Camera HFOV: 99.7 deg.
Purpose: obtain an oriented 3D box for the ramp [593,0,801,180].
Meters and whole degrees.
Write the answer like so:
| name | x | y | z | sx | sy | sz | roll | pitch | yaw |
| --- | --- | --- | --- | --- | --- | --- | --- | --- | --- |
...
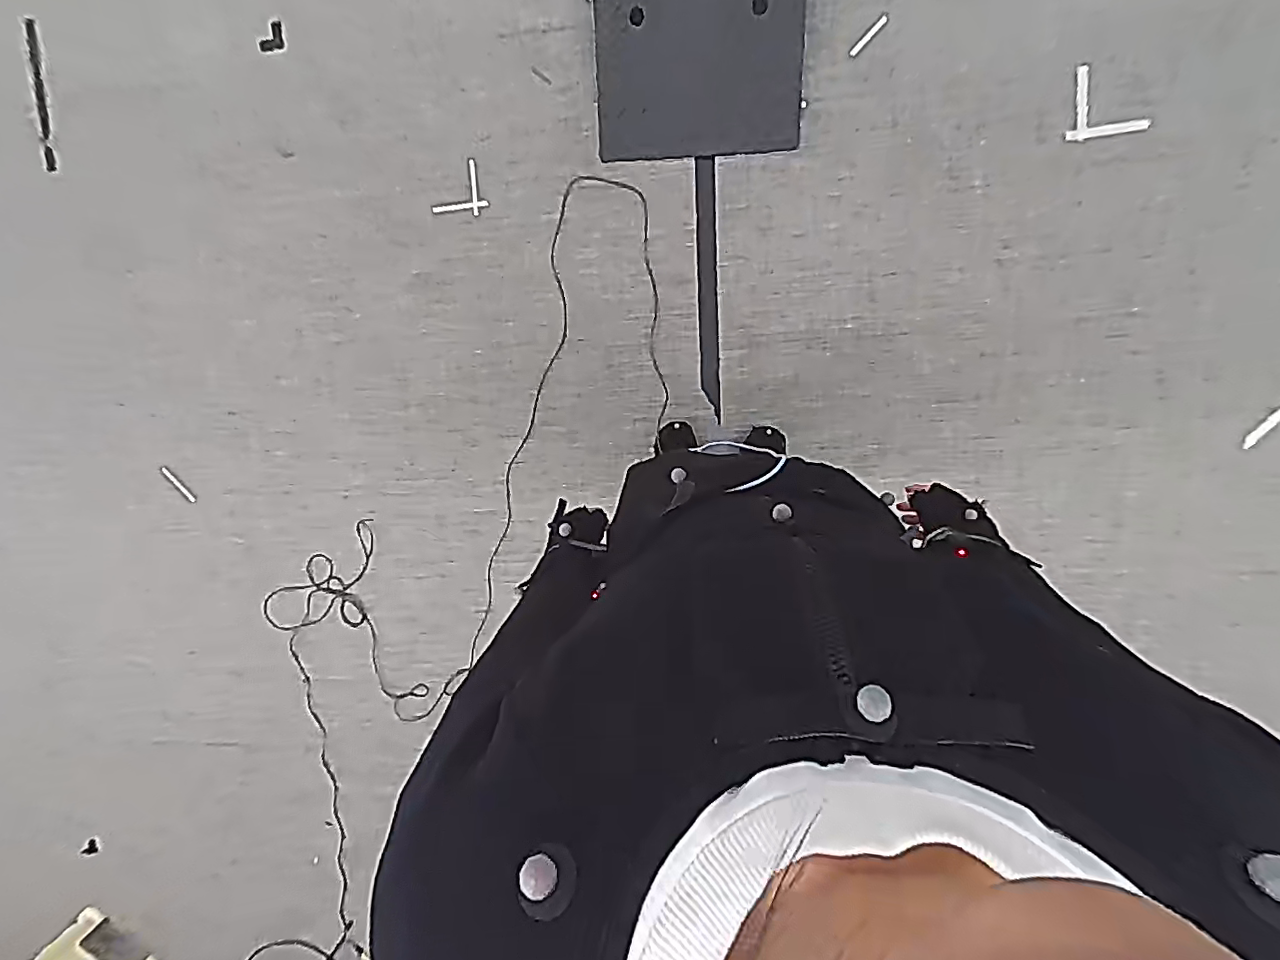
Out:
| name | x | y | z | sx | sy | sz | roll | pitch | yaw |
| --- | --- | --- | --- | --- | --- | --- | --- | --- | --- |
| ramp | 0.124 | -1.262 | 1.236 | 0.509 | 0.206 | 0.991 | -3 | 96 | 7 |
